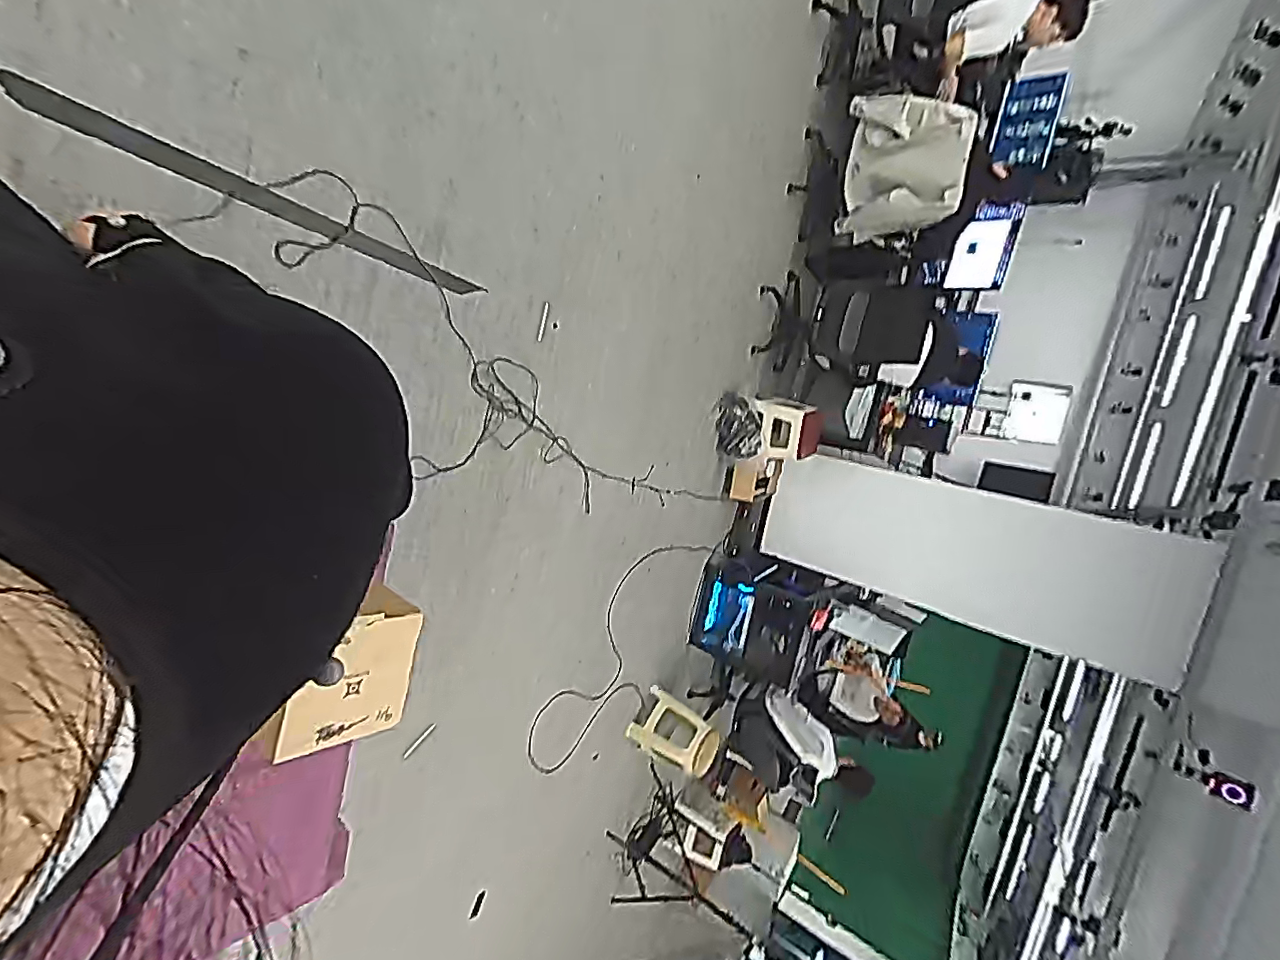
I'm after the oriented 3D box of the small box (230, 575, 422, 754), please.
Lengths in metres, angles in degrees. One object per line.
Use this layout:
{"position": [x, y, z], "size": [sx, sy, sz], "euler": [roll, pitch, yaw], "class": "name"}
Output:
{"position": [-0.440, 0.238, 0.757], "size": [0.168, 0.176, 0.179], "euler": [8, 97, -55], "class": "small box"}
